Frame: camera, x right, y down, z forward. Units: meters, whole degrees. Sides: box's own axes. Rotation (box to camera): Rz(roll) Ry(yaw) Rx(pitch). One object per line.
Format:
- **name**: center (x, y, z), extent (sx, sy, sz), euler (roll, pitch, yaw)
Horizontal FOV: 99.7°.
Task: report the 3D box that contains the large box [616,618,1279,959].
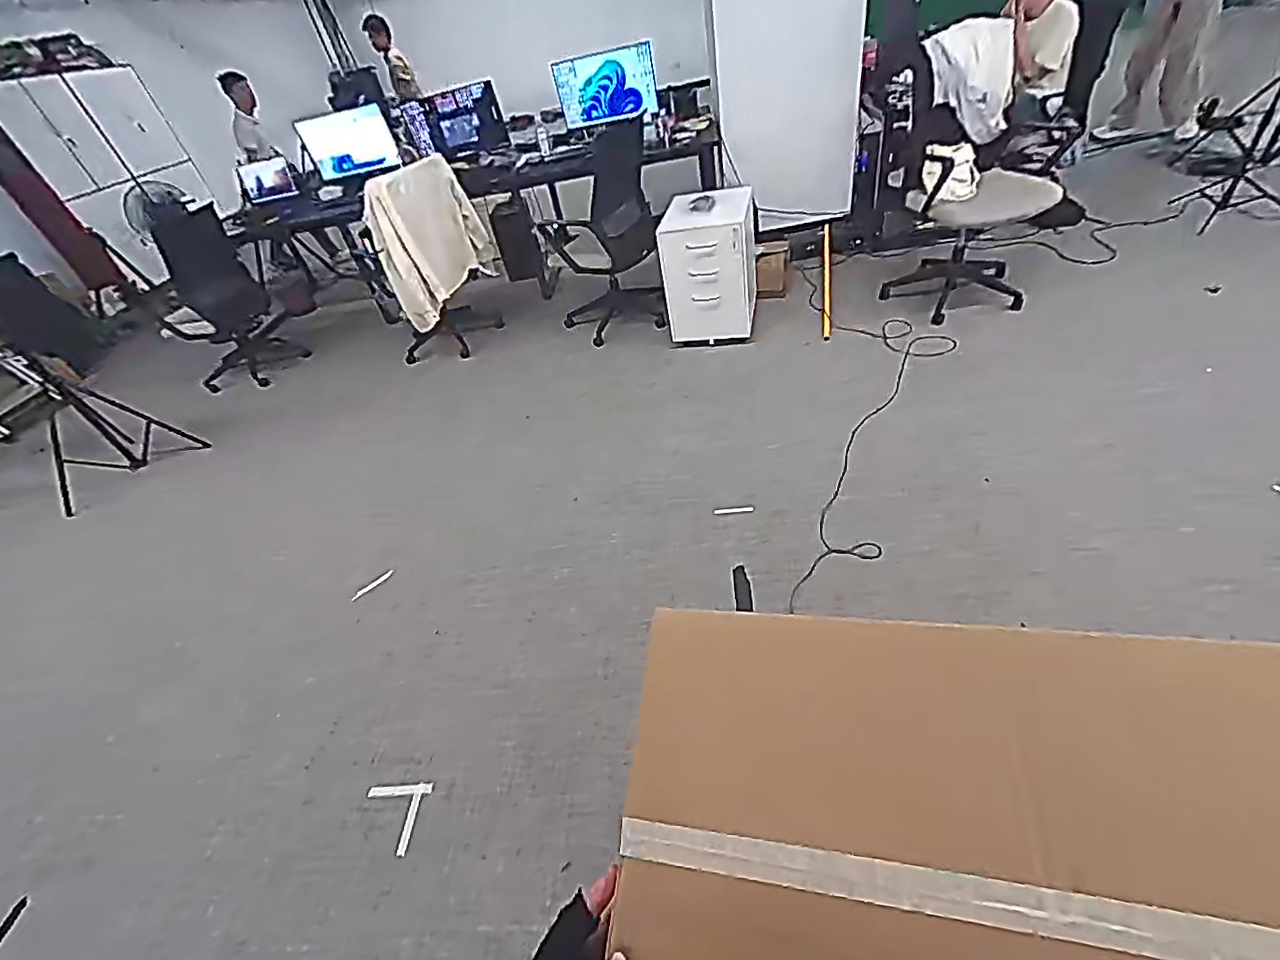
- **large box**: center (0.220, 0.318, 0.425), extent (0.408, 0.320, 0.320), euler (-1, 57, 18)
